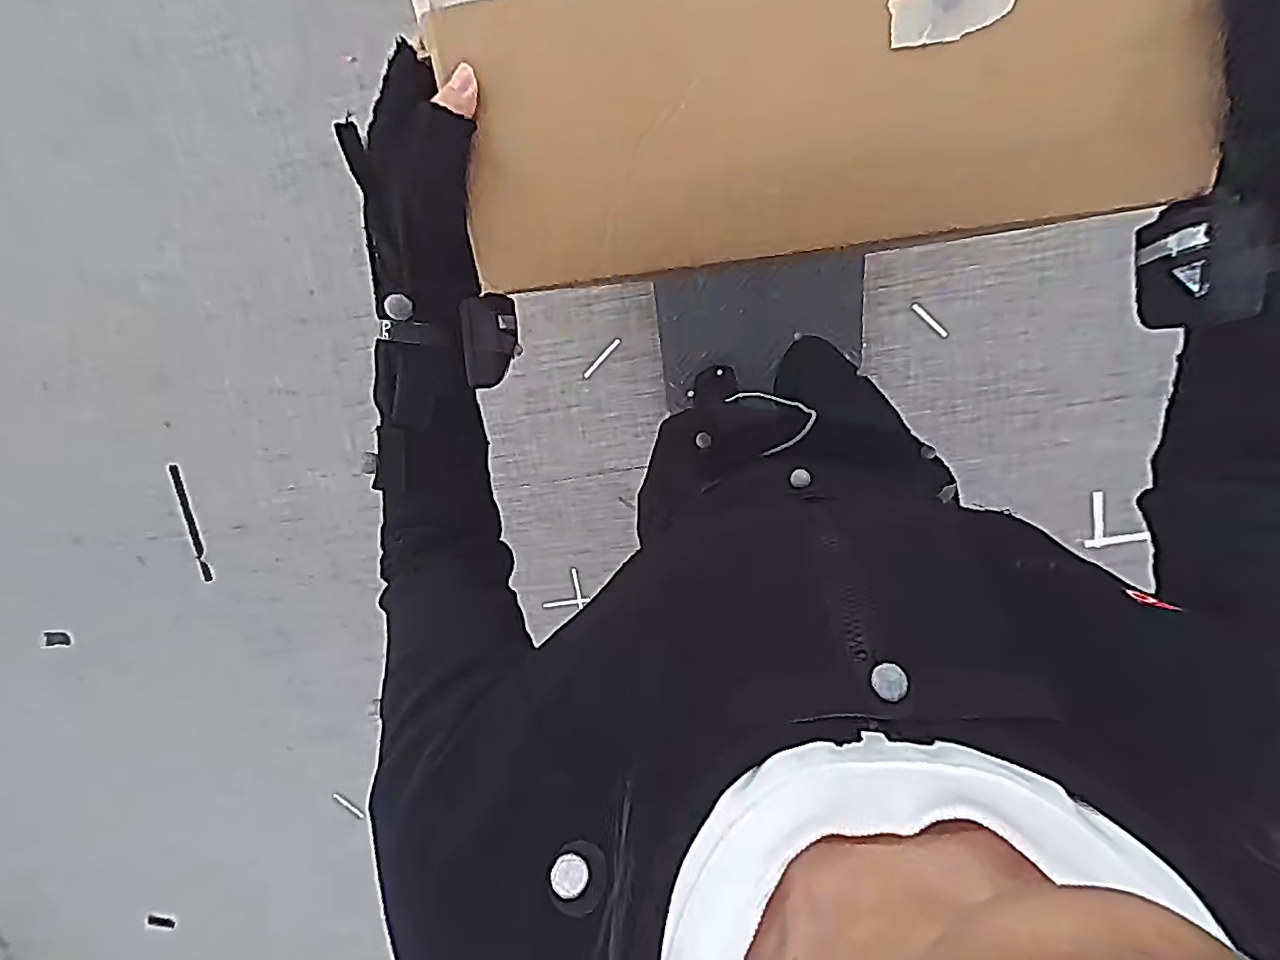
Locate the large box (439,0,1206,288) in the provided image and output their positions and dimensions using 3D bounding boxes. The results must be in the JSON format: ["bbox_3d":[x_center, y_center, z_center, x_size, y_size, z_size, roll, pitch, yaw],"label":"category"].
[{"bbox_3d":[0.094,-0.339,0.417,0.408,0.320,0.320,-5,110,8],"label":"large box"}]
